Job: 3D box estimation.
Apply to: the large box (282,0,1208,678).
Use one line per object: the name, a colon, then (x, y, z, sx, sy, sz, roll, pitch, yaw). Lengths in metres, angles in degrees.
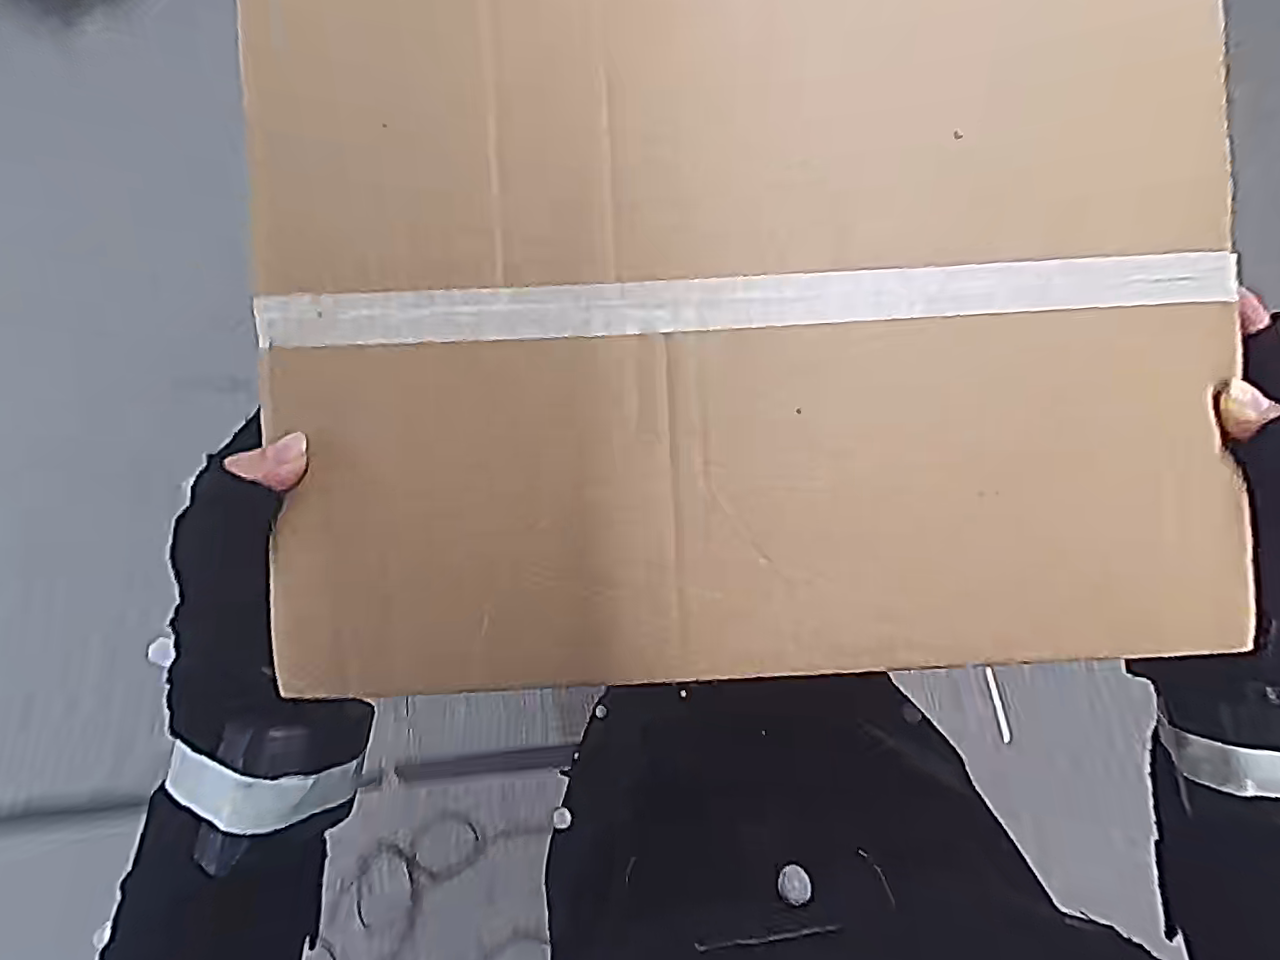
large box: (0.049, -0.076, 0.386, 0.408, 0.320, 0.320, -2, 90, 0)
